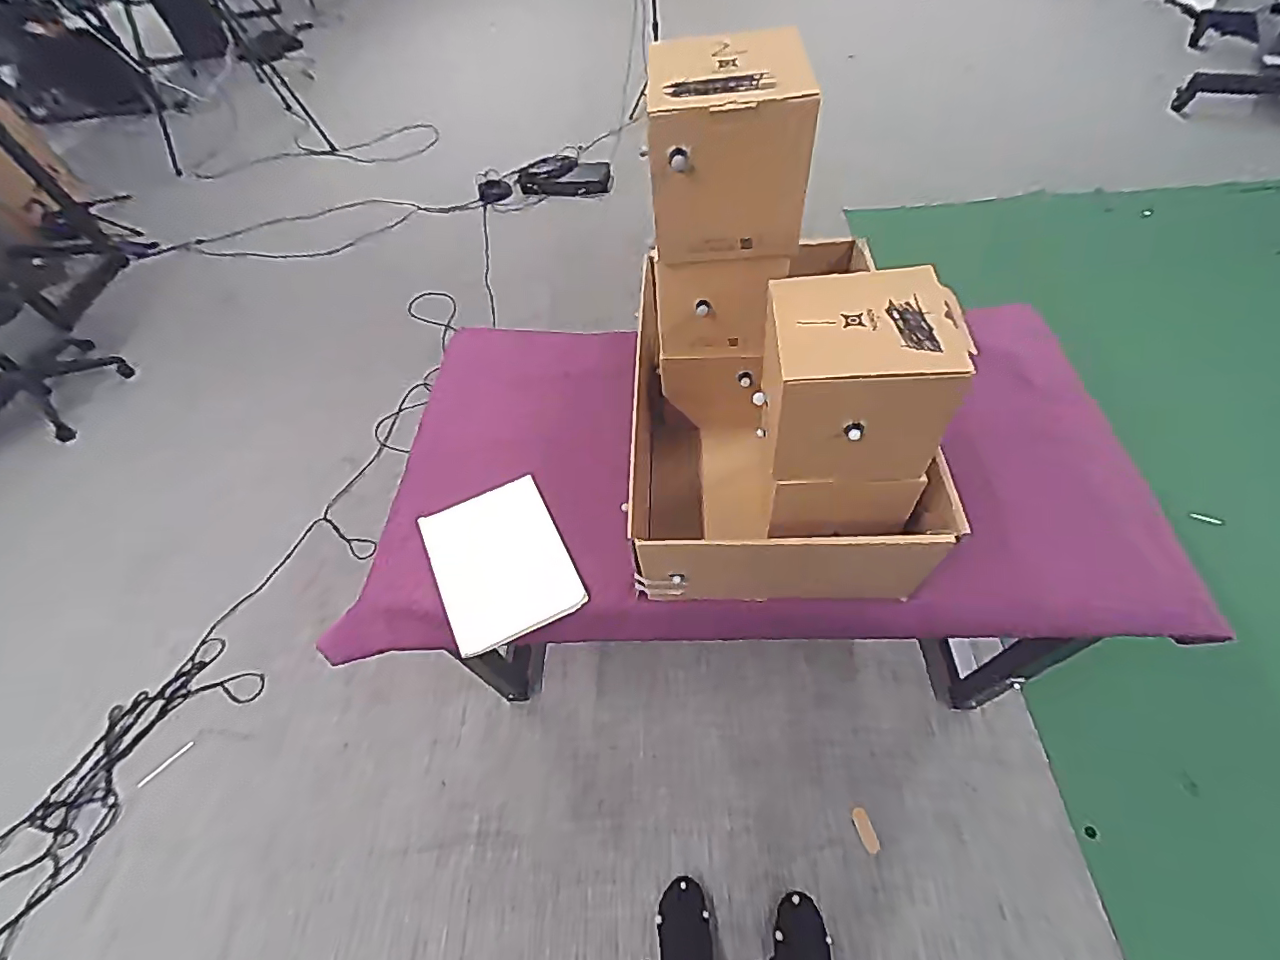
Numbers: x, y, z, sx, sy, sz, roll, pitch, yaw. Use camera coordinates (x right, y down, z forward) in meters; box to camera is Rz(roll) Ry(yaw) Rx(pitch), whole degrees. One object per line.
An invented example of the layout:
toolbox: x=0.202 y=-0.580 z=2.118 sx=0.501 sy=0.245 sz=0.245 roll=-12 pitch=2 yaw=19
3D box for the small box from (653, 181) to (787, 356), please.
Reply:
small box: x=0.112 y=-0.292 z=0.769 sx=0.168 sy=0.176 sz=0.179 roll=0 pitch=56 yaw=7

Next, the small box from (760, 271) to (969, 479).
small box: x=0.235 y=-0.113 z=0.619 sx=0.179 sy=0.176 sz=0.168 roll=-1 pitch=53 yaw=9
